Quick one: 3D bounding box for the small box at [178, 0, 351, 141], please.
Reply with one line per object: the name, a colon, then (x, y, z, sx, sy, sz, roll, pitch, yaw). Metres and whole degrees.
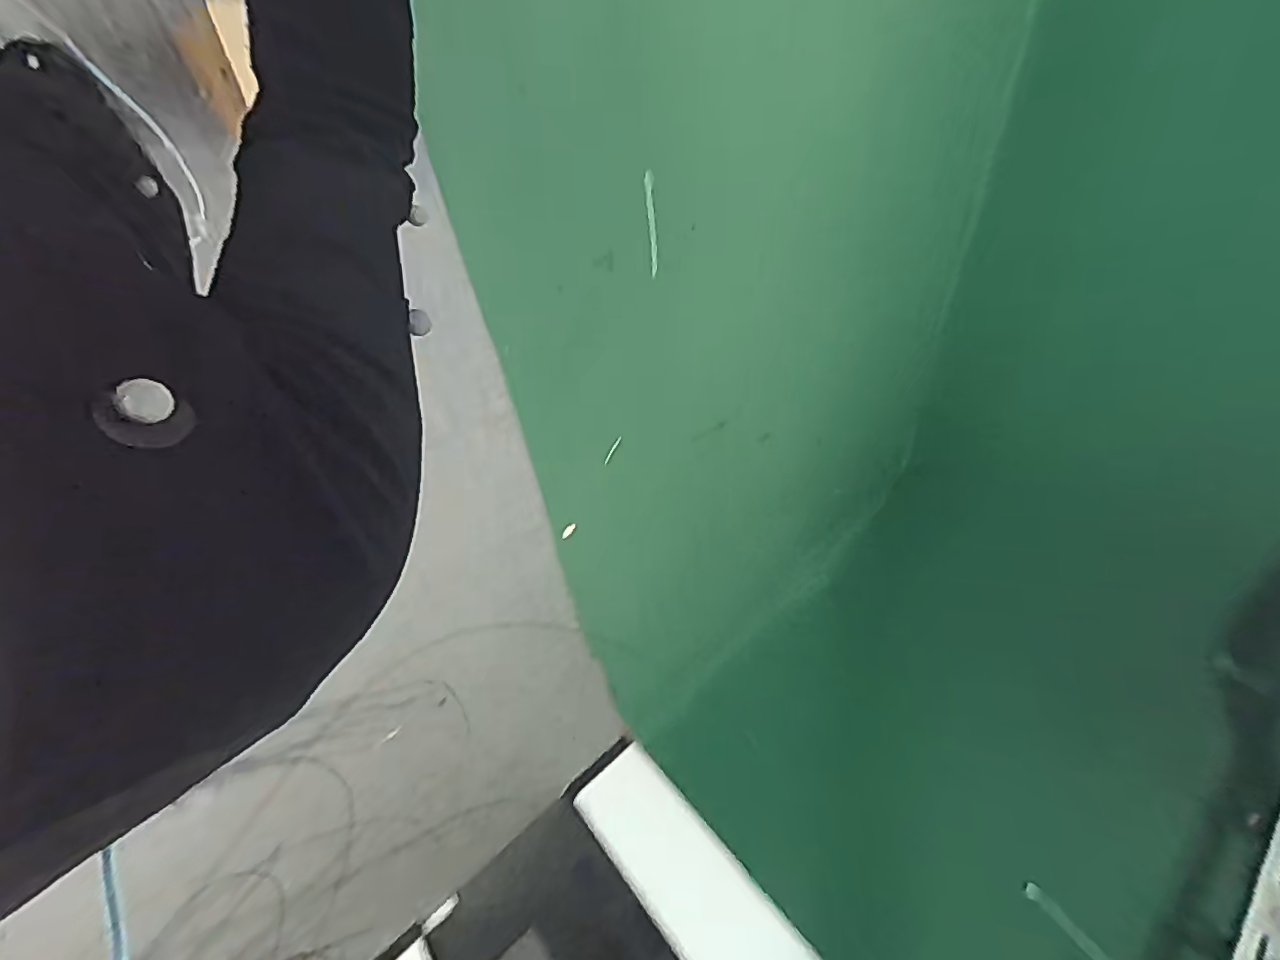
small box: (-0.607, -0.670, 0.881, 0.168, 0.176, 0.179, -30, 135, -29)
